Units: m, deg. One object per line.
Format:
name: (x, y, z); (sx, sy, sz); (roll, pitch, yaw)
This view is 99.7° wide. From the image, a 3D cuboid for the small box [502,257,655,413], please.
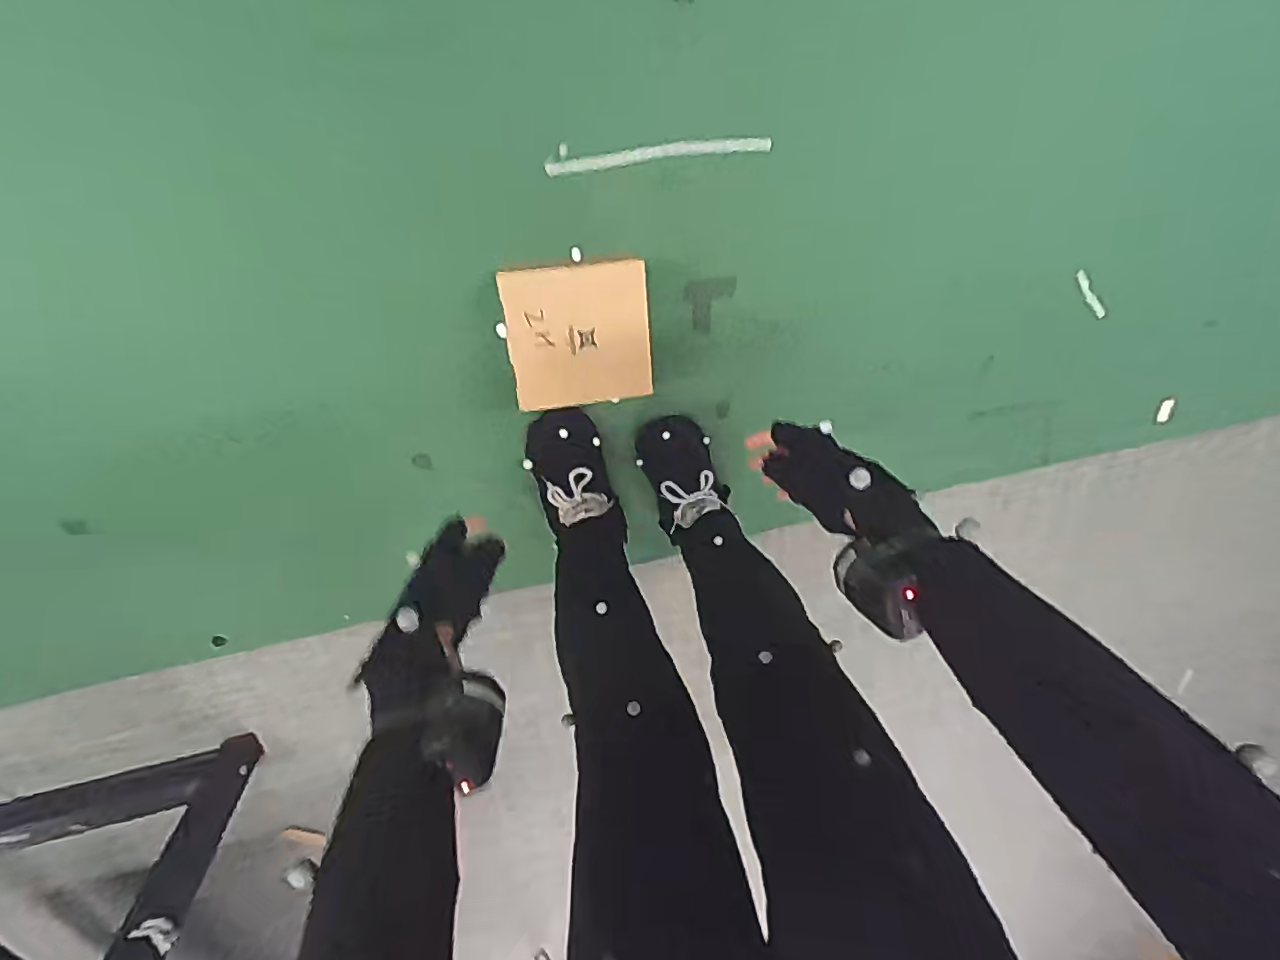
small box: (-0.086, -0.204, 0.733); (0.179, 0.176, 0.168); (-8, 116, -8)
